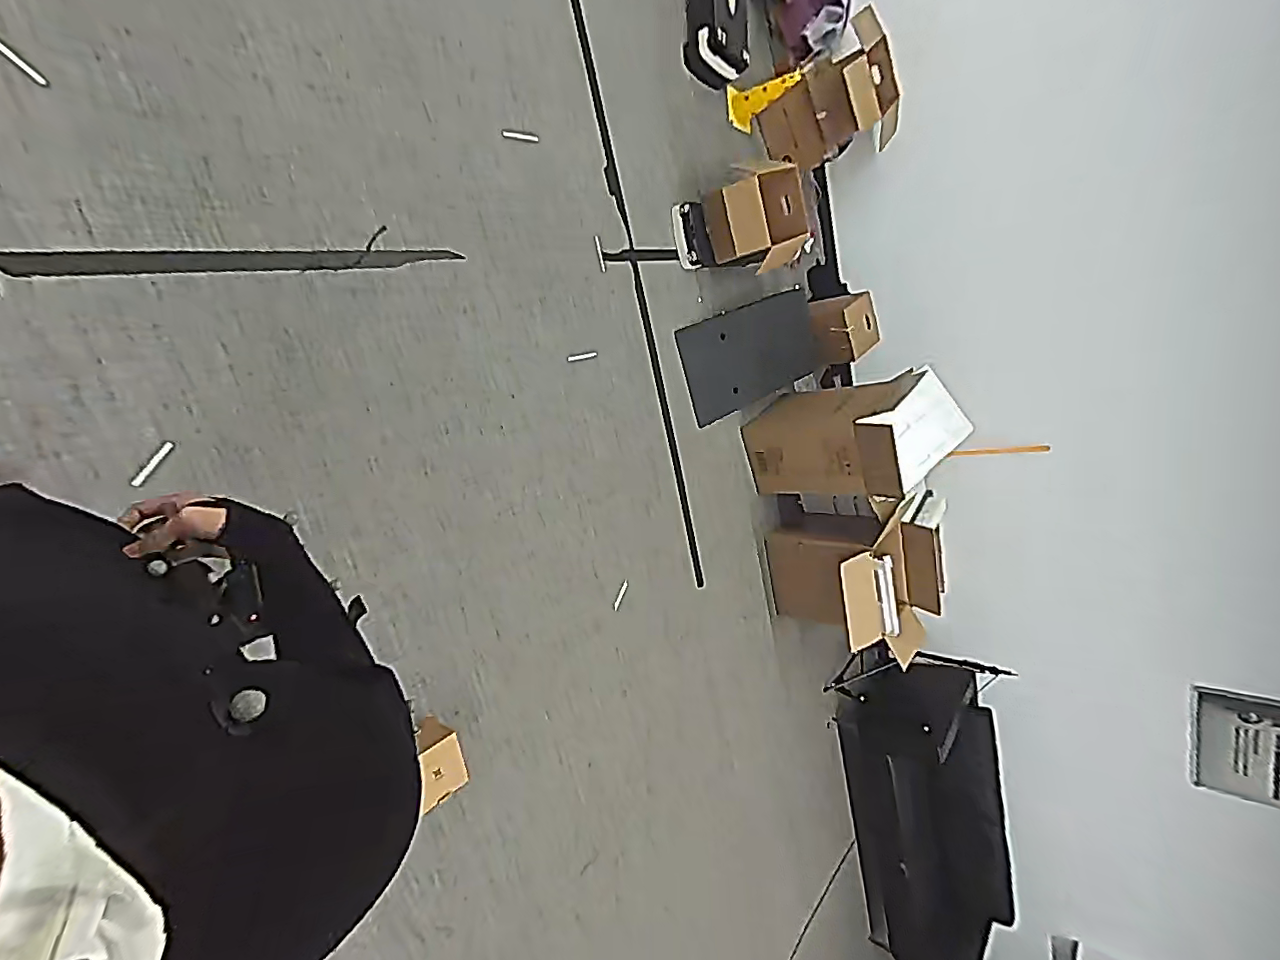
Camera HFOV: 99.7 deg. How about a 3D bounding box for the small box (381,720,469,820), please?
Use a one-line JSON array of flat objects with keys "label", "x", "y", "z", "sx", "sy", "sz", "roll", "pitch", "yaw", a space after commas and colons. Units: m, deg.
[{"label": "small box", "x": -0.643, "y": 0.857, "z": 1.617, "sx": 0.168, "sy": 0.176, "sz": 0.179, "roll": -22, "pitch": 106, "yaw": -45}]
